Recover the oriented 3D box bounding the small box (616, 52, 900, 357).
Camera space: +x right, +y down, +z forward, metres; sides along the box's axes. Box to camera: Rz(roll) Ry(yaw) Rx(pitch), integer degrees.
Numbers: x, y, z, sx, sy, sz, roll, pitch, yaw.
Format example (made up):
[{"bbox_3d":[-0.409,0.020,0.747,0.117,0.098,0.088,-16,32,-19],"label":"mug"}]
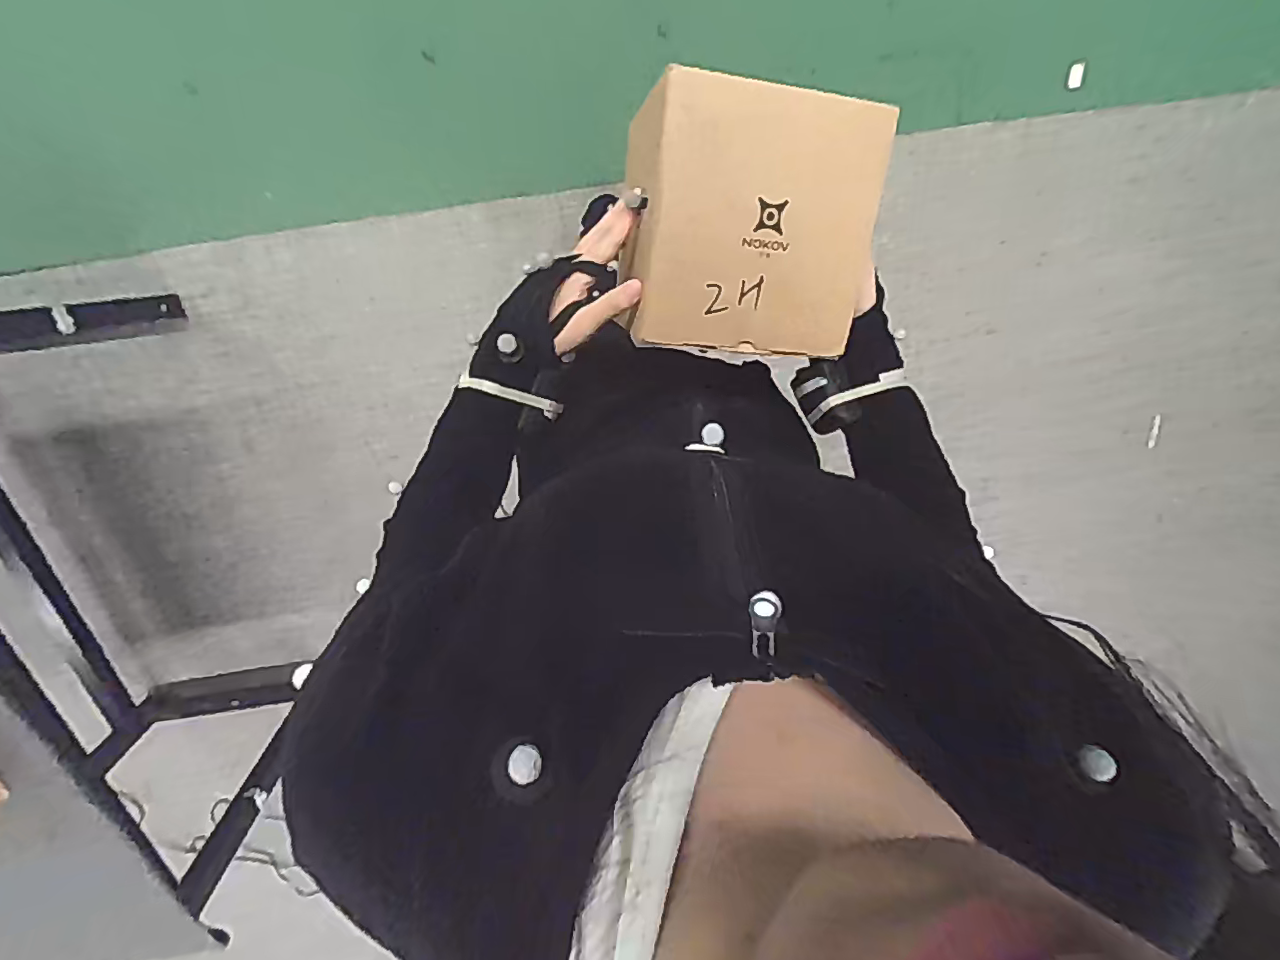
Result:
[{"bbox_3d":[0.077,-0.210,0.456,0.168,0.176,0.179,3,110,-12],"label":"small box"}]
